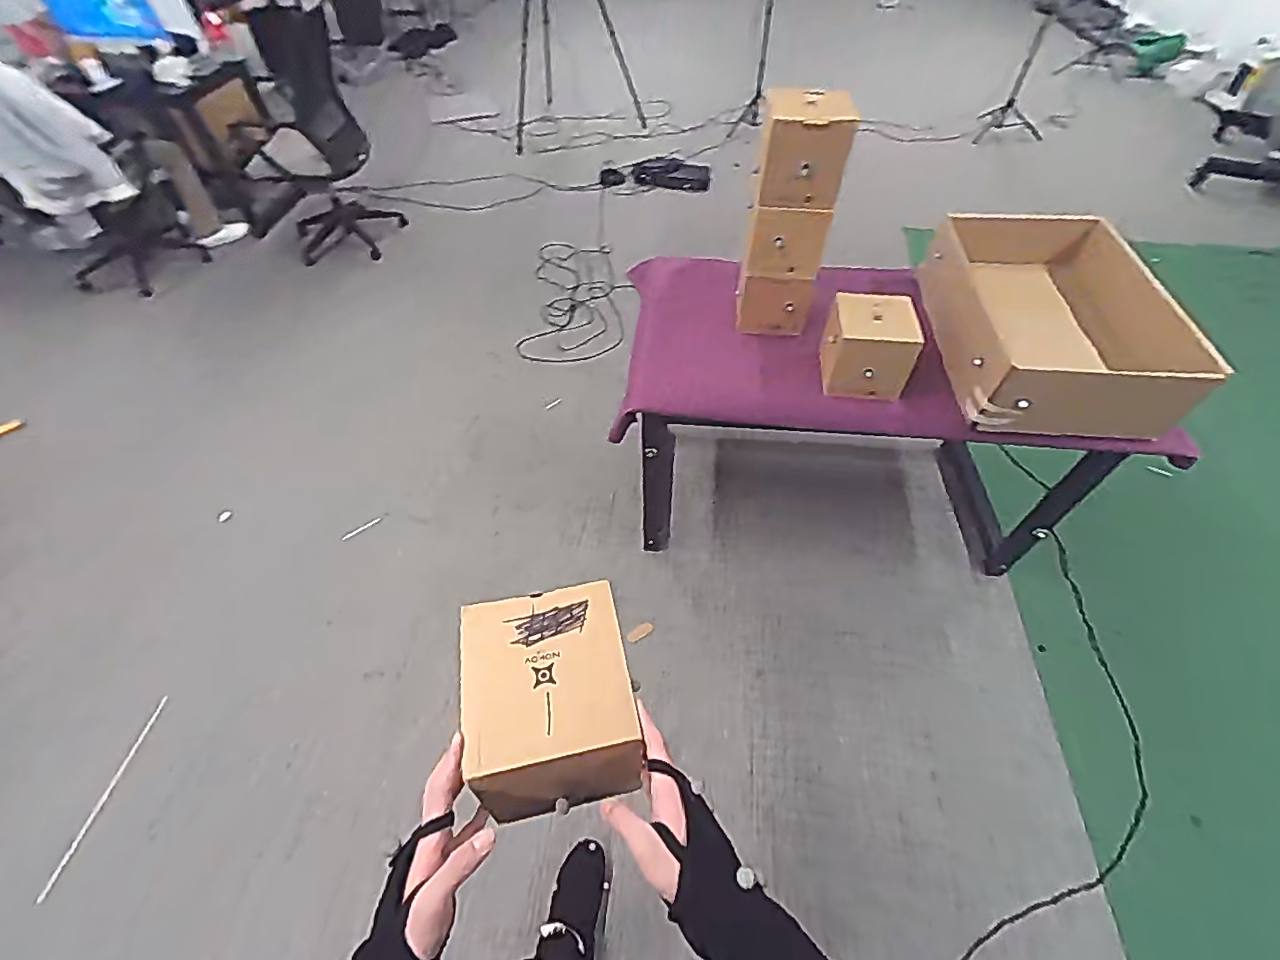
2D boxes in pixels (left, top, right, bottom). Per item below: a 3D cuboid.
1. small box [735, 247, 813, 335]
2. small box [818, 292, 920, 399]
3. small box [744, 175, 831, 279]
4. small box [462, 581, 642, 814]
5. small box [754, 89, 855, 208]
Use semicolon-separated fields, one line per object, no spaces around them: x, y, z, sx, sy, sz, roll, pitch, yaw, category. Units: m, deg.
0.342;-0.497;1.400;0.168;0.176;0.179;5;52;4;small box
0.516;-0.306;1.243;0.168;0.176;0.179;6;52;5;small box
0.338;-0.592;1.269;0.168;0.176;0.179;5;52;4;small box
-0.095;0.243;0.607;0.168;0.176;0.179;-9;47;-8;small box
0.338;-0.697;1.142;0.168;0.176;0.179;5;53;3;small box
